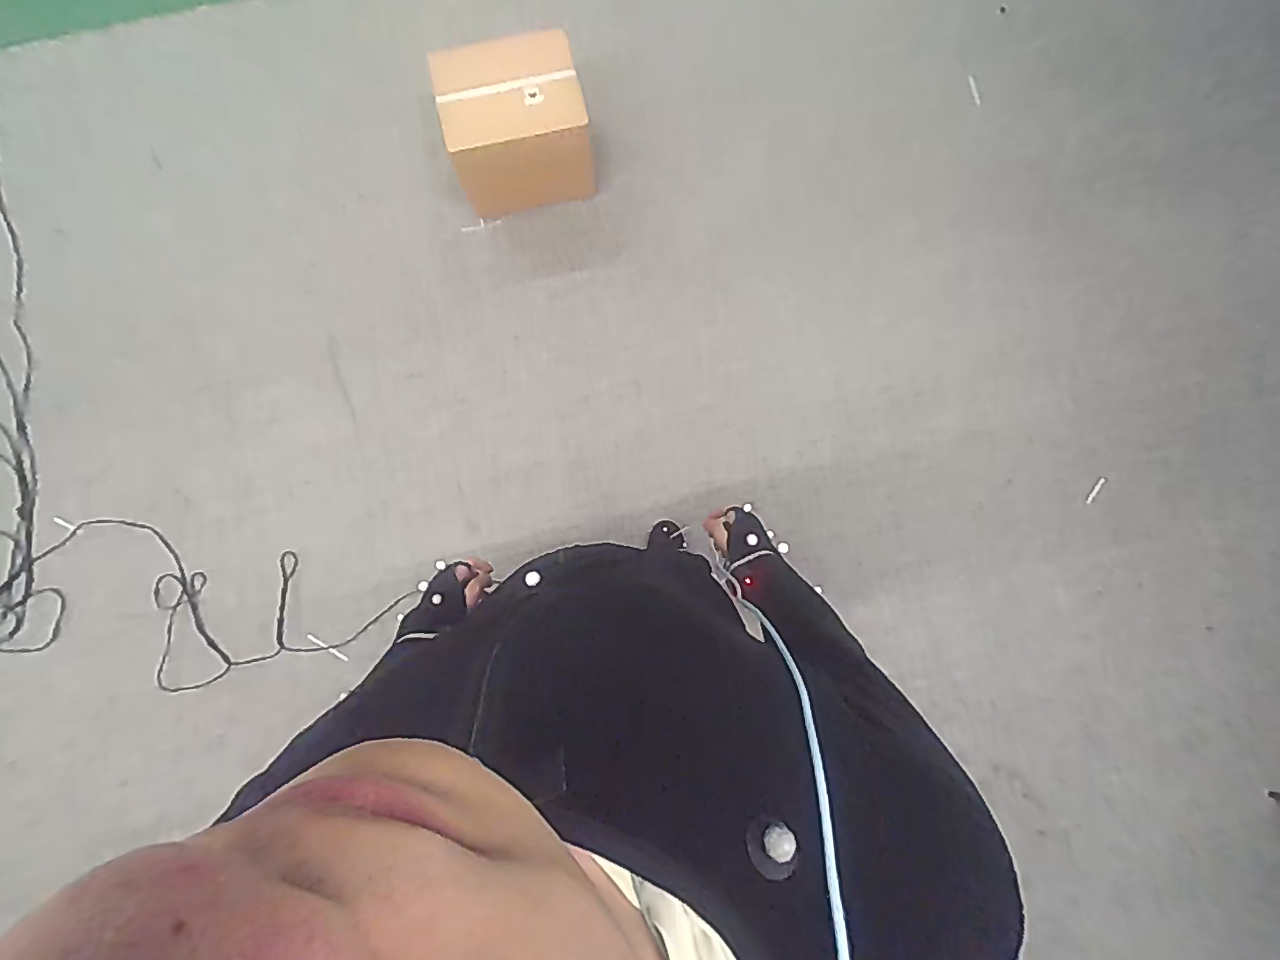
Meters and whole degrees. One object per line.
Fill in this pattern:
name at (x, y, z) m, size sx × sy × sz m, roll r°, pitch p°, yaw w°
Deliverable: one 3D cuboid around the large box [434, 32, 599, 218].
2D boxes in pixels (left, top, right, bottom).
large box at (-0.359, -1.071, 1.664) m, size 0.408 × 0.320 × 0.320 m, roll -13°, pitch 83°, yaw -3°
